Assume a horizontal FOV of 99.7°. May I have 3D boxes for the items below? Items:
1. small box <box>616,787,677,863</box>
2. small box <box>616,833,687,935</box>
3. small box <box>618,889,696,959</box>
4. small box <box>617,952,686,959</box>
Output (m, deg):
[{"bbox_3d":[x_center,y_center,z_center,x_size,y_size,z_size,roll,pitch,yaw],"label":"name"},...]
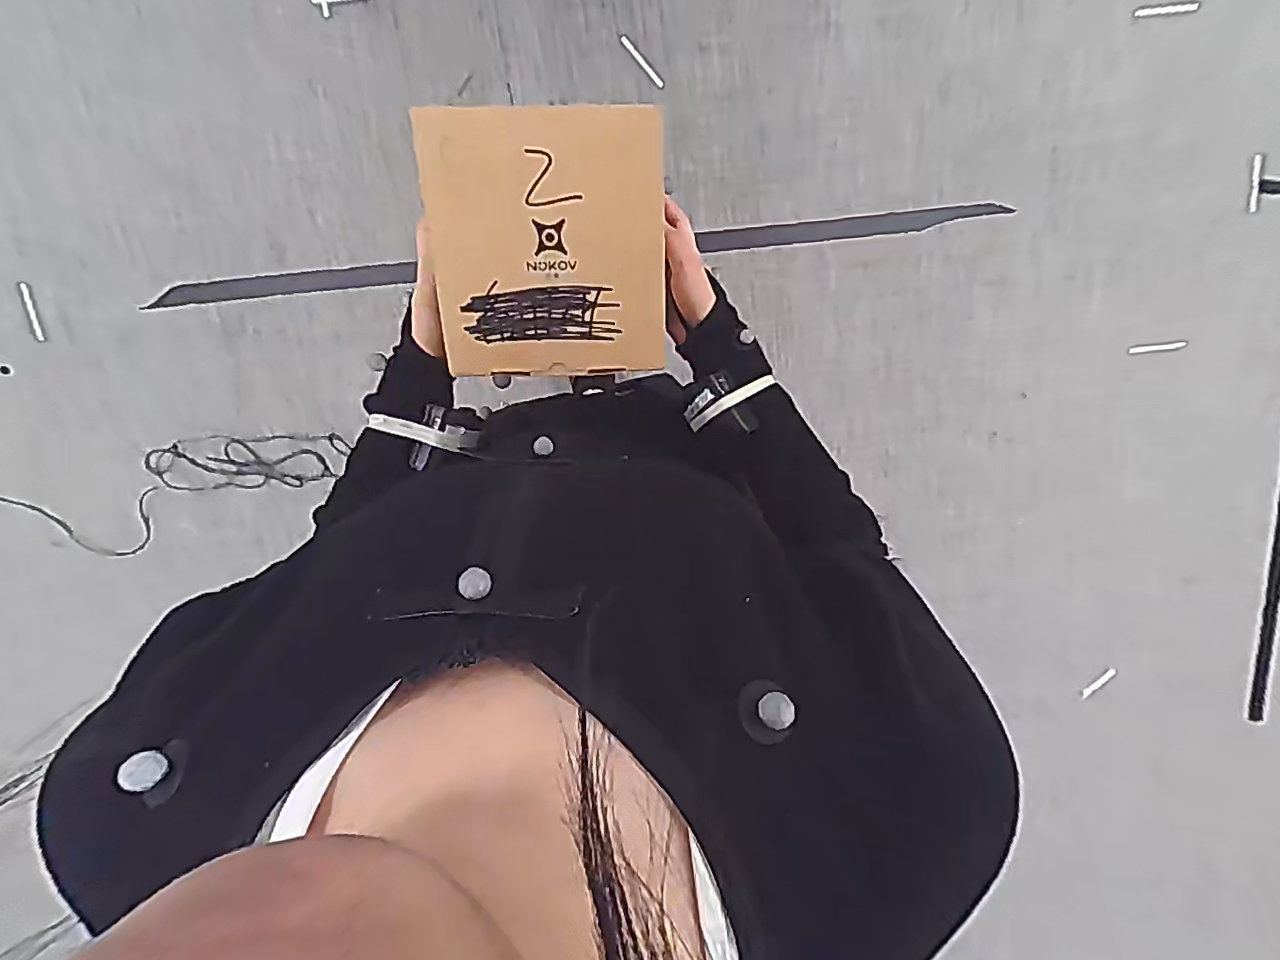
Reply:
[{"bbox_3d":[0.016,1.067,1.648,0.179,0.176,0.168,0,101,-3],"label":"small box"},{"bbox_3d":[0.026,1.109,1.489,0.179,0.176,0.168,3,101,-4],"label":"small box"},{"bbox_3d":[0.036,1.149,1.333,0.179,0.176,0.168,0,101,-3],"label":"small box"},{"bbox_3d":[0.031,1.179,1.171,0.168,0.176,0.179,0,100,-4],"label":"small box"}]
